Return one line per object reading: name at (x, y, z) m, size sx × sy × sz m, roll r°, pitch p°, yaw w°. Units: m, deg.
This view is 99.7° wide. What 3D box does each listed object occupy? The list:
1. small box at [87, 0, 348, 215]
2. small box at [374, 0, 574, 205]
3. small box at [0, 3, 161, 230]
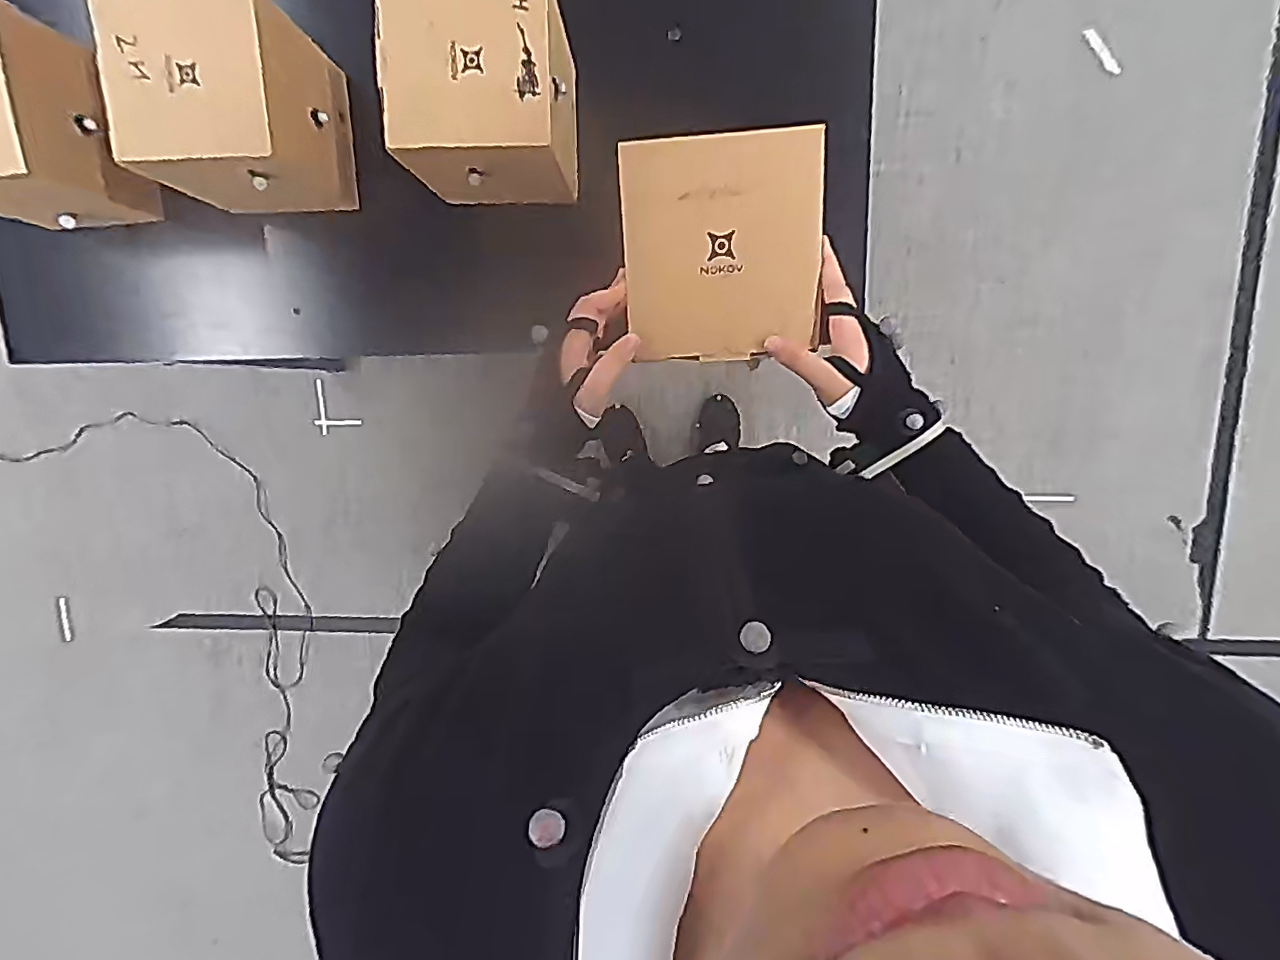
small box at (-0.471, -0.427, 0.638) m, size 0.179 × 0.176 × 0.168 m, roll -2°, pitch 98°, yaw 2°
small box at (-0.179, -0.434, 0.628) m, size 0.179 × 0.176 × 0.168 m, roll 1°, pitch 99°, yaw 3°
small box at (-0.738, -0.420, 0.650) m, size 0.168 × 0.176 × 0.179 m, roll -3°, pitch 100°, yaw 3°
